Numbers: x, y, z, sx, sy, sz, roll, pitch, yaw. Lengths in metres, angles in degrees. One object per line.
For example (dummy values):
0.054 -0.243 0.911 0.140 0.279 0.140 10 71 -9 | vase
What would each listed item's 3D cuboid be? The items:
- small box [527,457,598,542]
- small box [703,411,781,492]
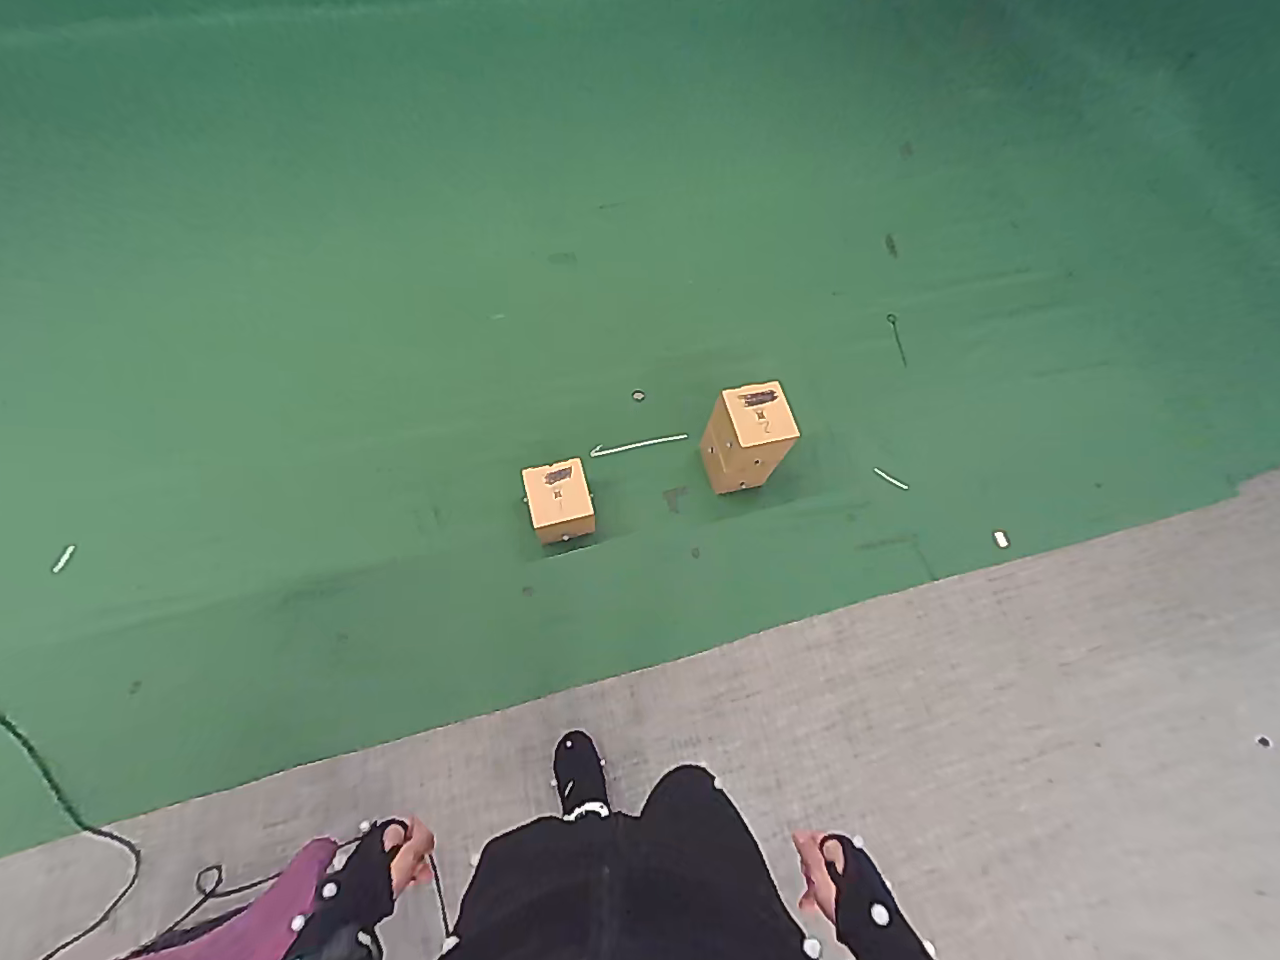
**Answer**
-0.219 0.058 1.543 0.168 0.176 0.179 -13 69 -9 | small box
0.301 -0.084 1.640 0.168 0.176 0.179 -11 69 -9 | small box
